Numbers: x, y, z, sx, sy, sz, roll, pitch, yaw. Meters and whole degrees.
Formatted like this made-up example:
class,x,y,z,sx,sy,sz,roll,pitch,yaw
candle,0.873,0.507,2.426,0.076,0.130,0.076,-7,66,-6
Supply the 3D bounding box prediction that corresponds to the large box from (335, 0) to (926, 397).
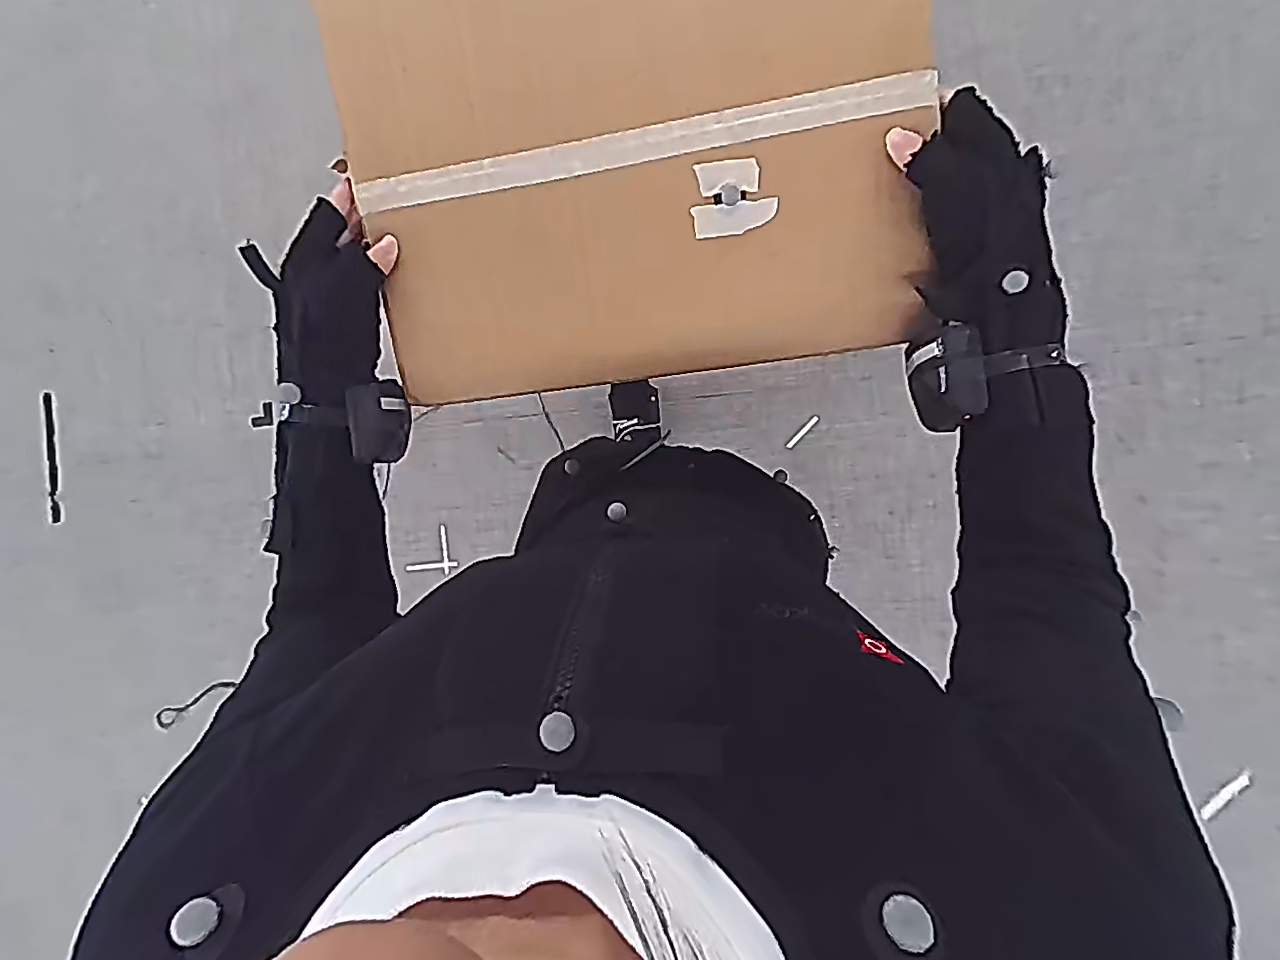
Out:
class,x,y,z,sx,sy,sz,roll,pitch,yaw
large box,0.007,-0.273,0.536,0.408,0.320,0.320,-6,103,7
